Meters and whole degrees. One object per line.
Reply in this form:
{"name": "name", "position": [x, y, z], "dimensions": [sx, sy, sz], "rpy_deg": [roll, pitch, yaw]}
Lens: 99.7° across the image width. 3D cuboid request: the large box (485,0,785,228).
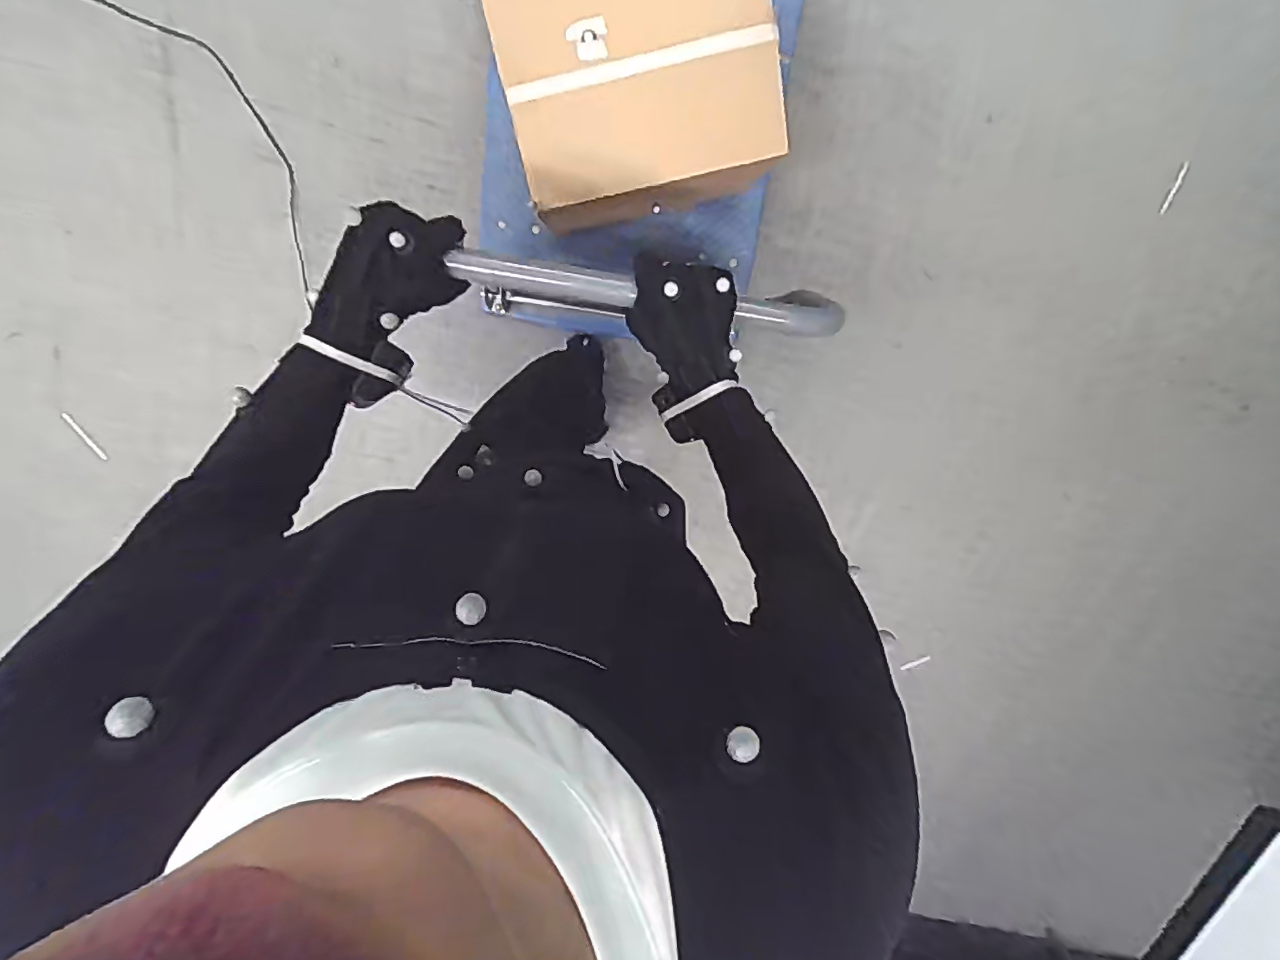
{"name": "large box", "position": [-0.002, -0.656, 0.935], "dimensions": [0.408, 0.320, 0.320], "rpy_deg": [-12, 108, 2]}
